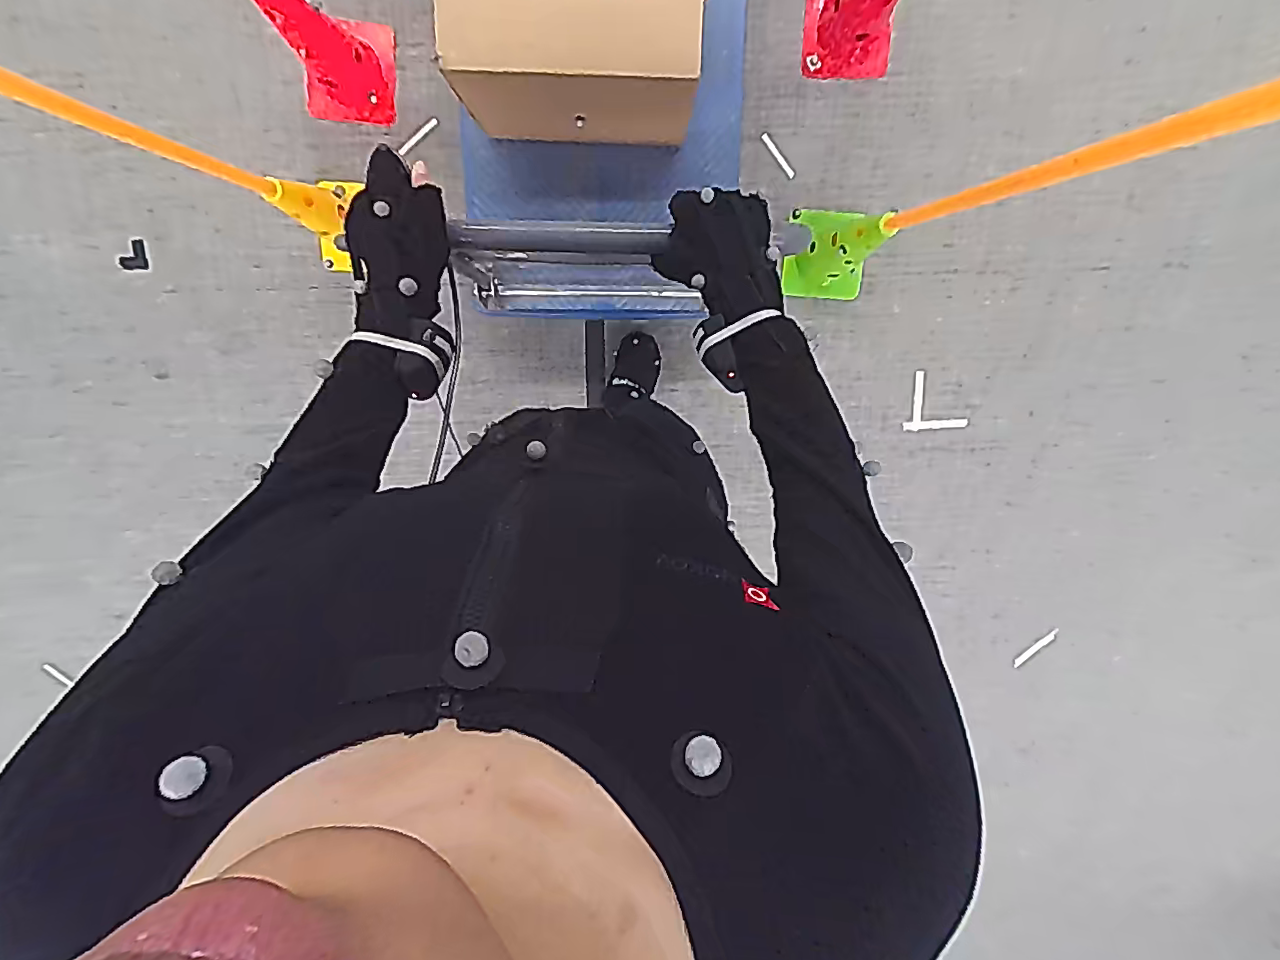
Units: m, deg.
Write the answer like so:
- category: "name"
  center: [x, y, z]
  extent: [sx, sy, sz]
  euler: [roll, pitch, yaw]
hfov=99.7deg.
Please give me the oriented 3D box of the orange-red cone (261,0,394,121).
- category: "orange-red cone"
  center: [-0.652, -0.893, 1.056]
  extent: [0.198, 0.360, 0.199]
  euler: [6, 103, -4]

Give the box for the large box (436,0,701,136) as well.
- category: "large box"
  center: [-0.106, -0.818, 0.935]
  extent: [0.408, 0.320, 0.320]
  euler: [1, 105, -1]

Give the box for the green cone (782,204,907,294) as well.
- category: "green cone"
  center: [0.462, -0.525, 1.172]
  extent: [0.202, 0.368, 0.200]
  euler: [3, 105, -3]

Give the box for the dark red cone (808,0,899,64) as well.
- category: "dark red cone"
  center: [0.478, -0.990, 1.031]
  extent: [0.201, 0.394, 0.202]
  euler: [-1, 105, -3]
